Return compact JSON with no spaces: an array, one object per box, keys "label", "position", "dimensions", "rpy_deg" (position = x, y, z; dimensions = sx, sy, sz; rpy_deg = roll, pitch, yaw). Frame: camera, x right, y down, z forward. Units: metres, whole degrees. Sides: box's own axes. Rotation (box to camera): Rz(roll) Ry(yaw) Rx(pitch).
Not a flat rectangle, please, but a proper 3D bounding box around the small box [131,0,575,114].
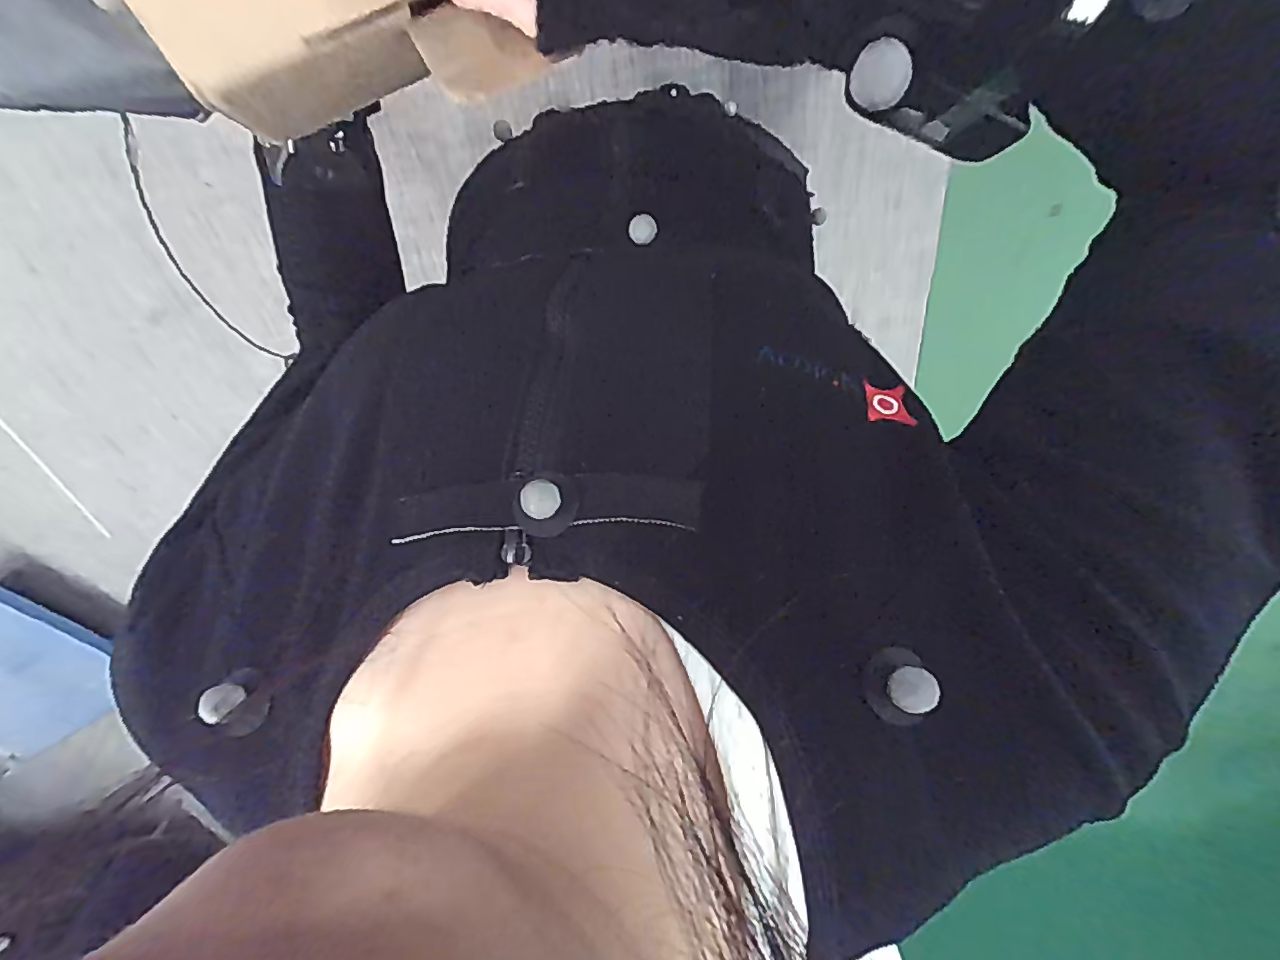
[{"label":"small box","position":[-0.106,-0.239,0.166],"dimensions":[0.168,0.176,0.179],"rpy_deg":[-31,124,-13]}]
